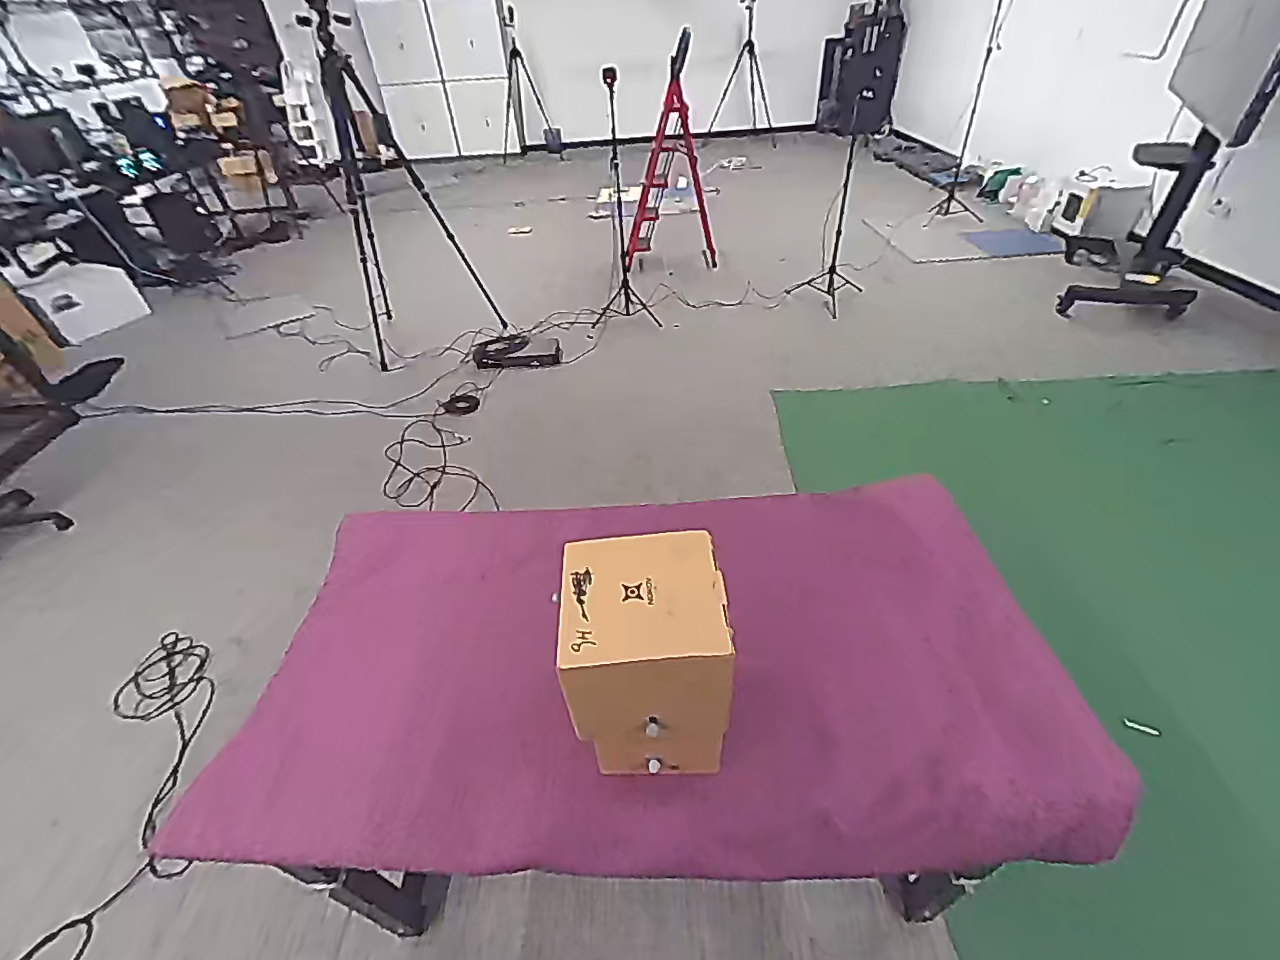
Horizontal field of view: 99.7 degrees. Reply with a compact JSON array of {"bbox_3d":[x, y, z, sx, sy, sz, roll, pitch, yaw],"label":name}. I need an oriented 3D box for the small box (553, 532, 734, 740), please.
[{"bbox_3d":[0.004,0.181,0.625,0.179,0.176,0.168,-4,41,0],"label":"small box"}]

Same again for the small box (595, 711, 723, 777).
[{"bbox_3d":[0.022,0.287,0.751,0.168,0.176,0.179,-2,41,3],"label":"small box"}]
